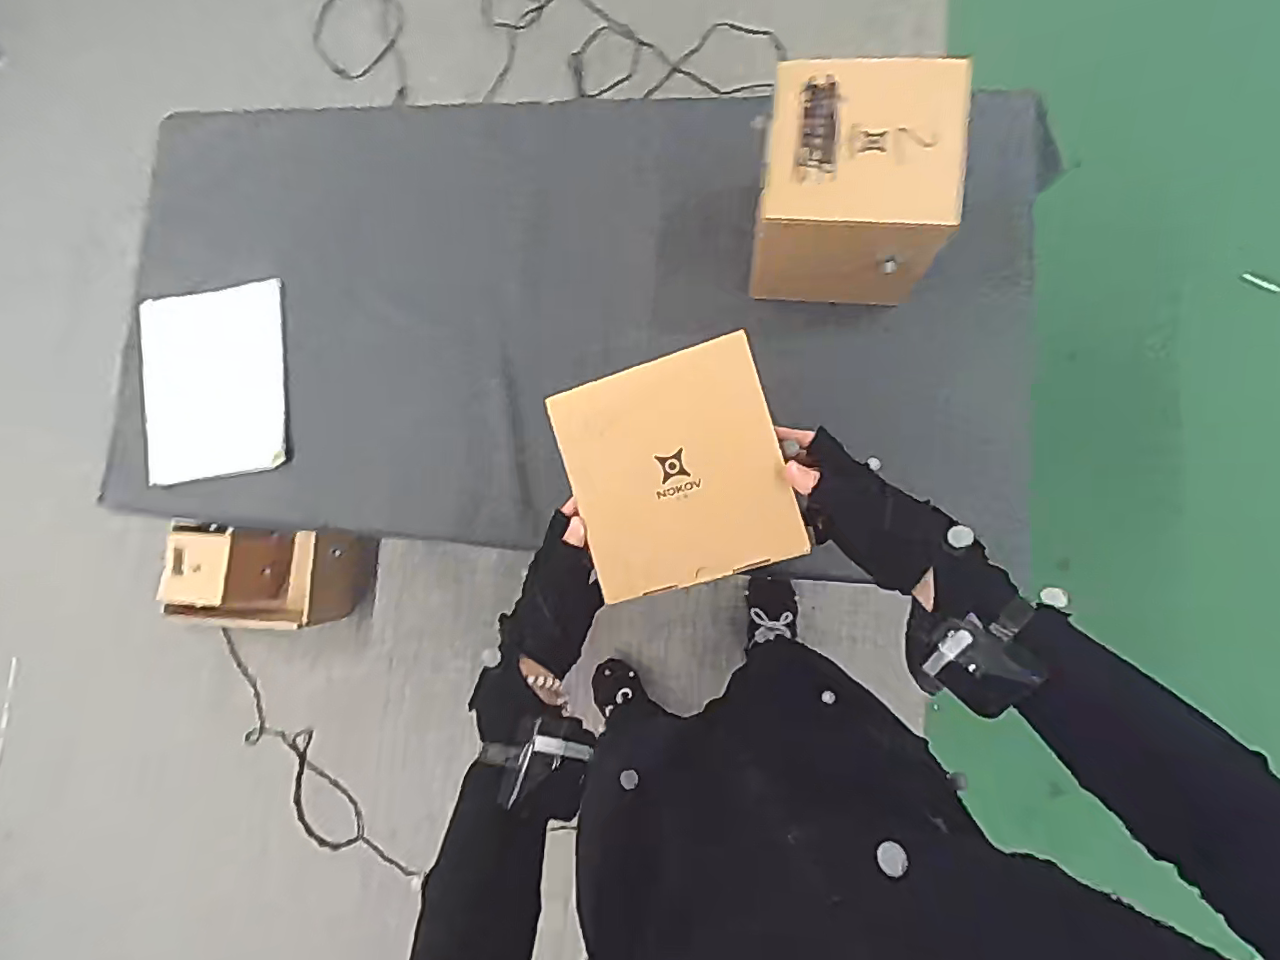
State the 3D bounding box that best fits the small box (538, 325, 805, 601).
[{"bbox_3d":[0.031,-0.012,0.485,0.168,0.176,0.179,-17,90,9],"label":"small box"}]
